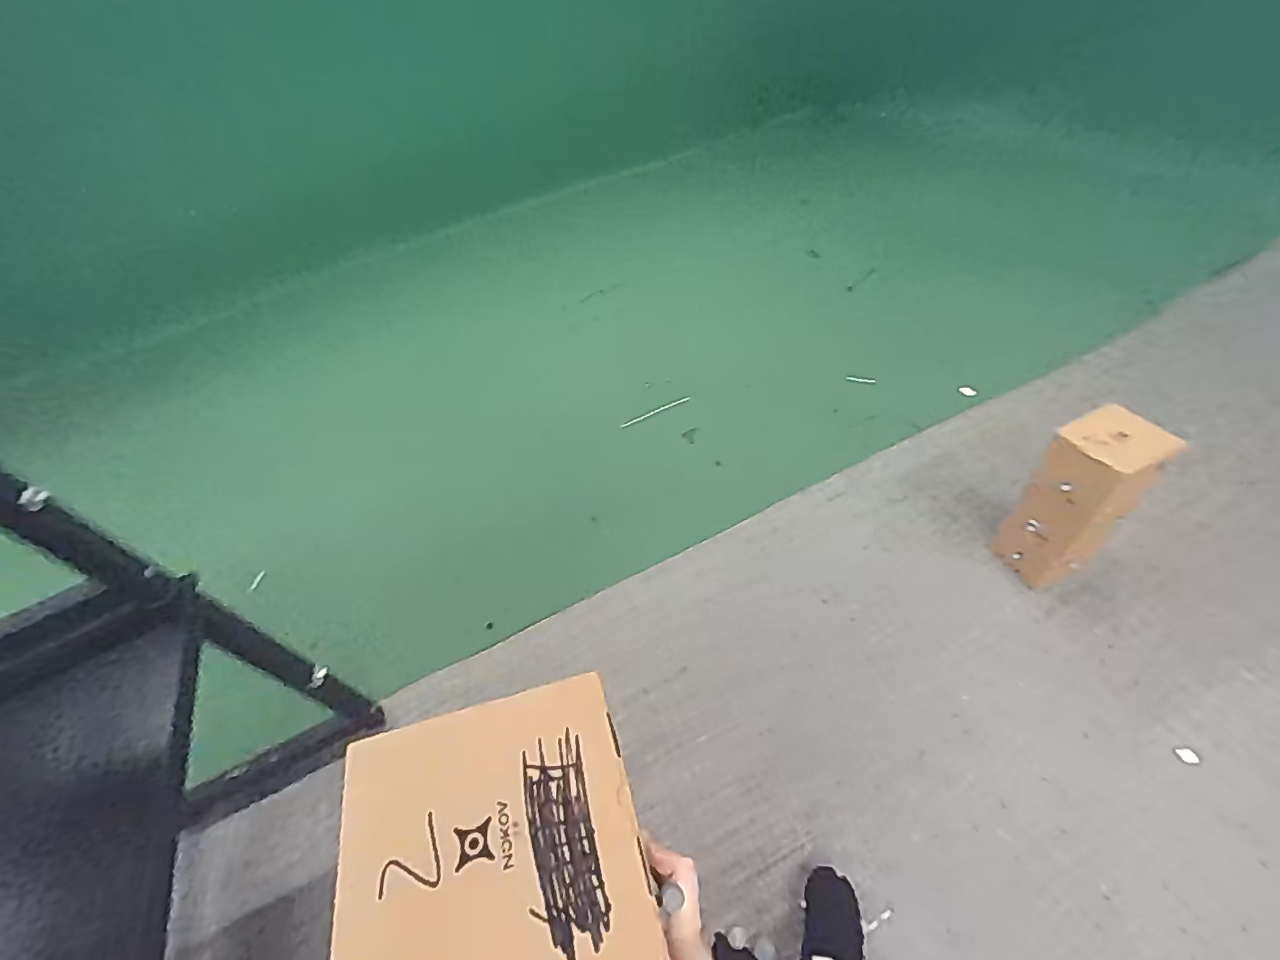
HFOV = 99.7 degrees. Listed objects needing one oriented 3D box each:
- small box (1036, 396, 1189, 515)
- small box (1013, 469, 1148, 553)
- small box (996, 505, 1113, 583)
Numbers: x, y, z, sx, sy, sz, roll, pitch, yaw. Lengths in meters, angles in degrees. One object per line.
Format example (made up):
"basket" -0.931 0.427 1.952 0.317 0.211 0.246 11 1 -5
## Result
"small box" 1.054 -0.054 1.227 0.179 0.176 0.168 -24 47 -9
"small box" 1.085 0.050 1.352 0.179 0.176 0.168 -25 48 -8
"small box" 1.114 0.152 1.475 0.179 0.176 0.168 -23 49 -6
